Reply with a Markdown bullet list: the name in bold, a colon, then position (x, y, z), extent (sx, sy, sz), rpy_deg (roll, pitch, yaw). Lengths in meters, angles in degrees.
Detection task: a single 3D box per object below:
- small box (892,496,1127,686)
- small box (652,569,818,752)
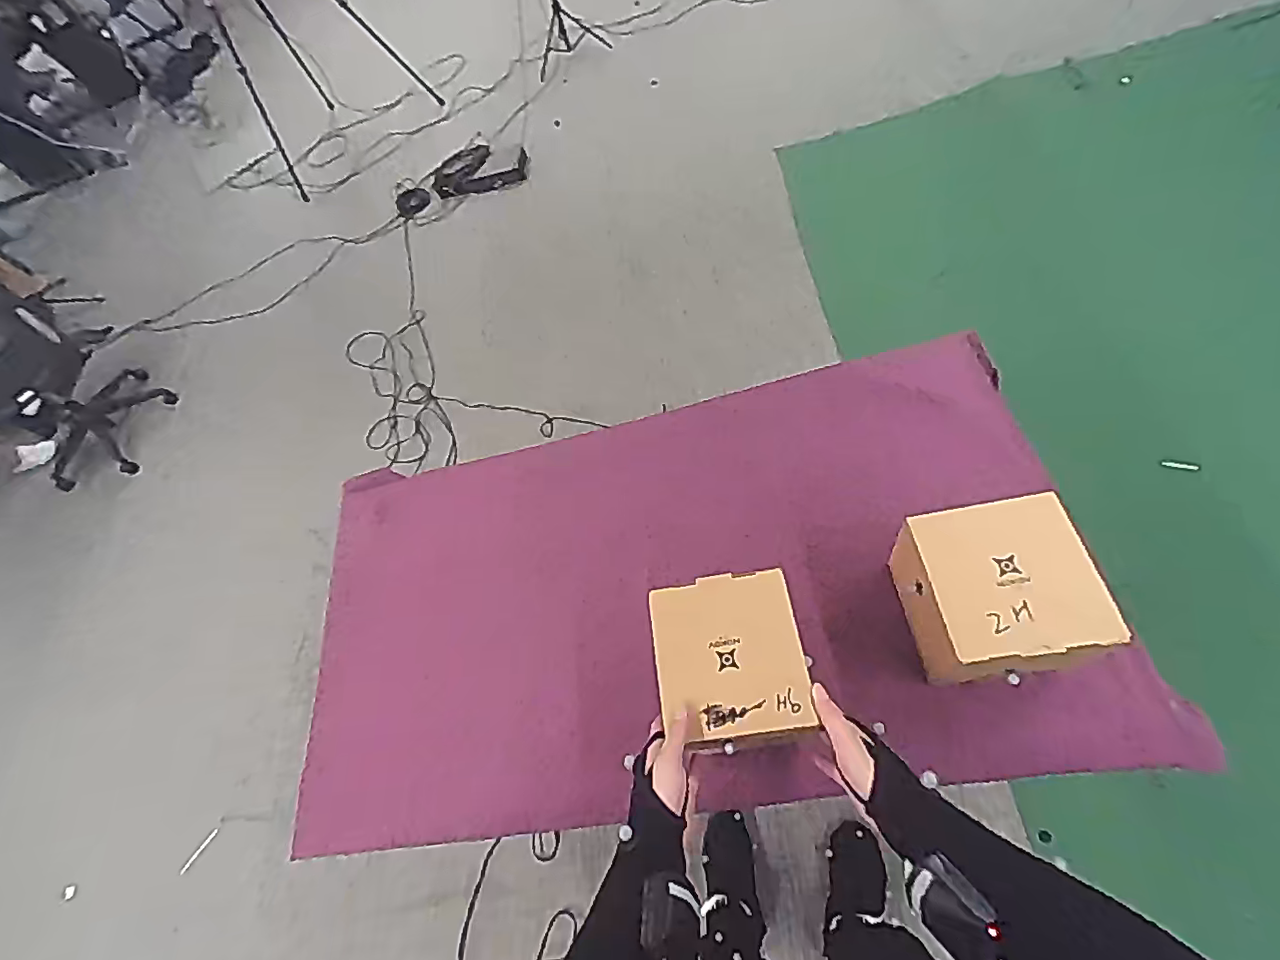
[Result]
- **small box**: position (0.428, 0.144, 0.669), extent (0.168, 0.176, 0.179), rpy_deg (-12, 60, 12)
- **small box**: position (0.117, 0.234, 0.681), extent (0.168, 0.176, 0.179), rpy_deg (-12, 59, 9)
